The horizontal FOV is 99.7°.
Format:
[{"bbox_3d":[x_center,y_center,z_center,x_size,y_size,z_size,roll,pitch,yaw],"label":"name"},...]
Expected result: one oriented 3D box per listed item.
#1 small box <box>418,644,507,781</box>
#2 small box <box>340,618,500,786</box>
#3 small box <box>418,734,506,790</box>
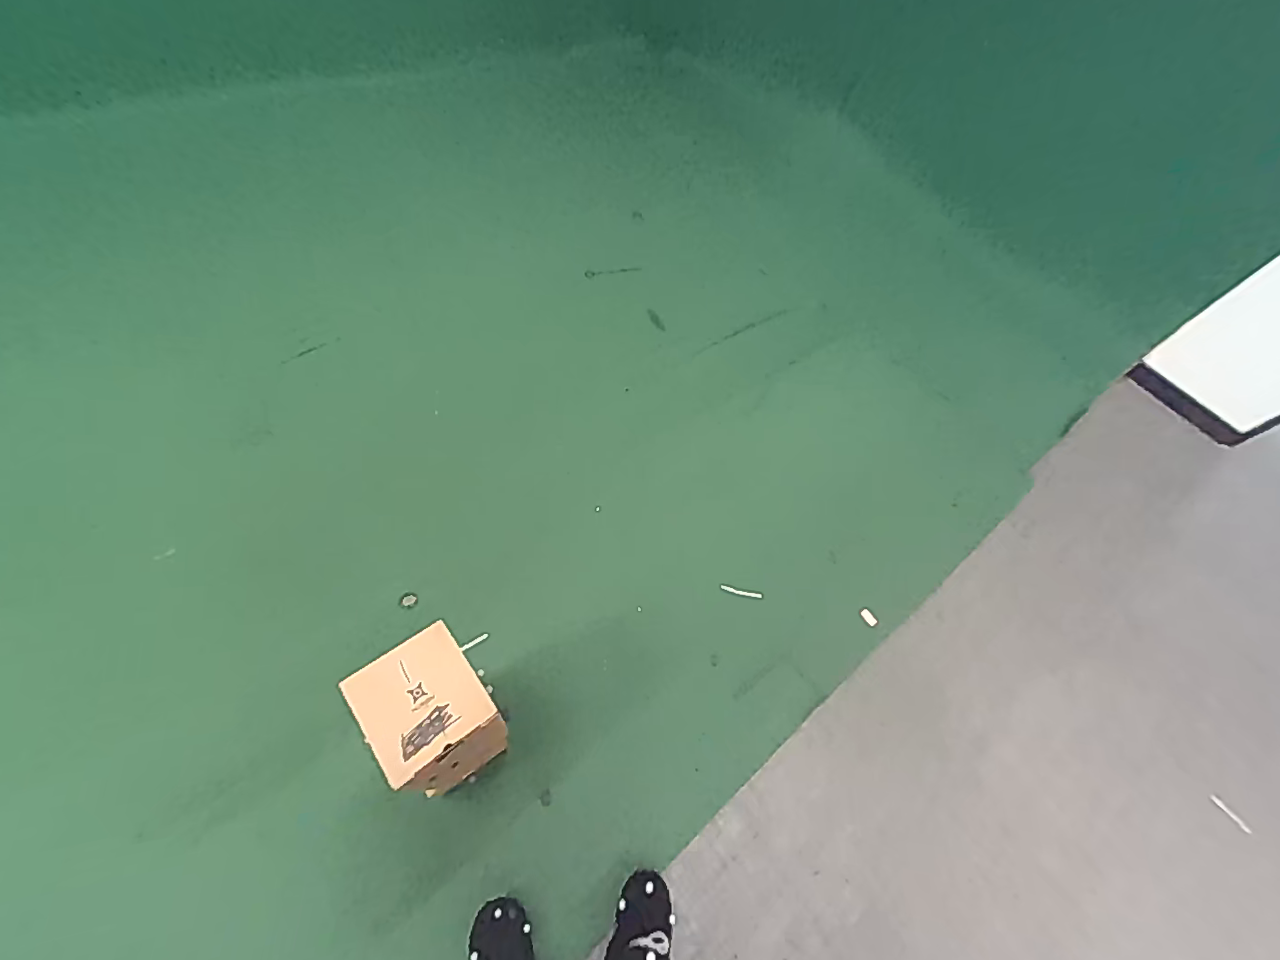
[{"bbox_3d":[-0.365,0.434,1.007,0.168,0.176,0.179,-32,70,-25],"label":"small box"},{"bbox_3d":[-0.338,0.355,0.864,0.168,0.176,0.179,-31,70,-25],"label":"small box"},{"bbox_3d":[-0.394,0.514,1.124,0.168,0.176,0.179,-29,70,-23],"label":"small box"}]
